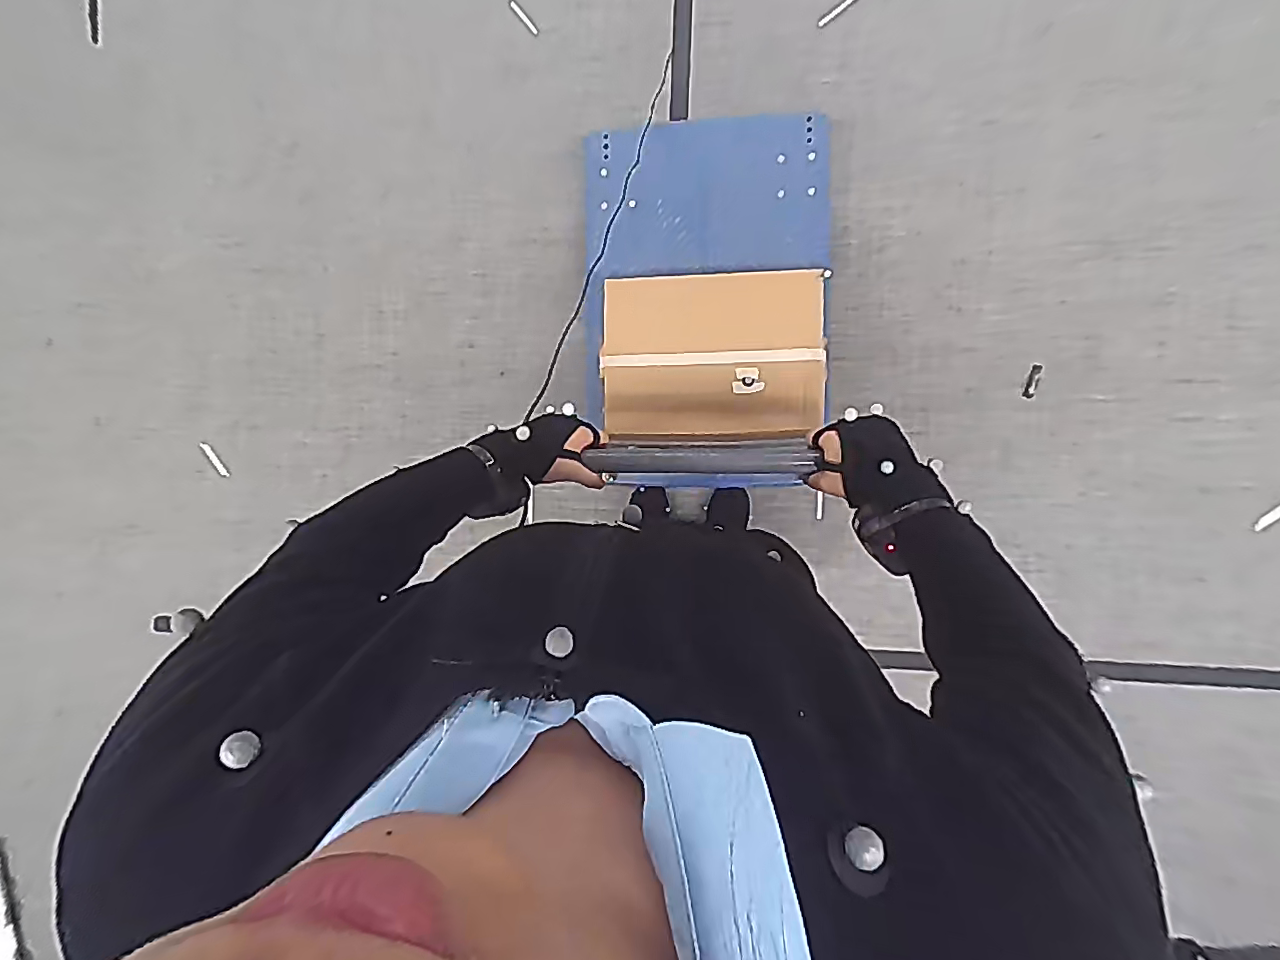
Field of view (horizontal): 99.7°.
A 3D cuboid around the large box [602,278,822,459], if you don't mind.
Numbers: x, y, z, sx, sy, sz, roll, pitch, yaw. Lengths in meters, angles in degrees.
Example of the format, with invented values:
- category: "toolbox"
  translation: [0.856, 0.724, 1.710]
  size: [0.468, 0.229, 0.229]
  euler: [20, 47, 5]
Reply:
- category: "large box"
  translation: [0.144, -0.209, 1.146]
  size: [0.408, 0.320, 0.320]
  euler: [0, 91, 6]
